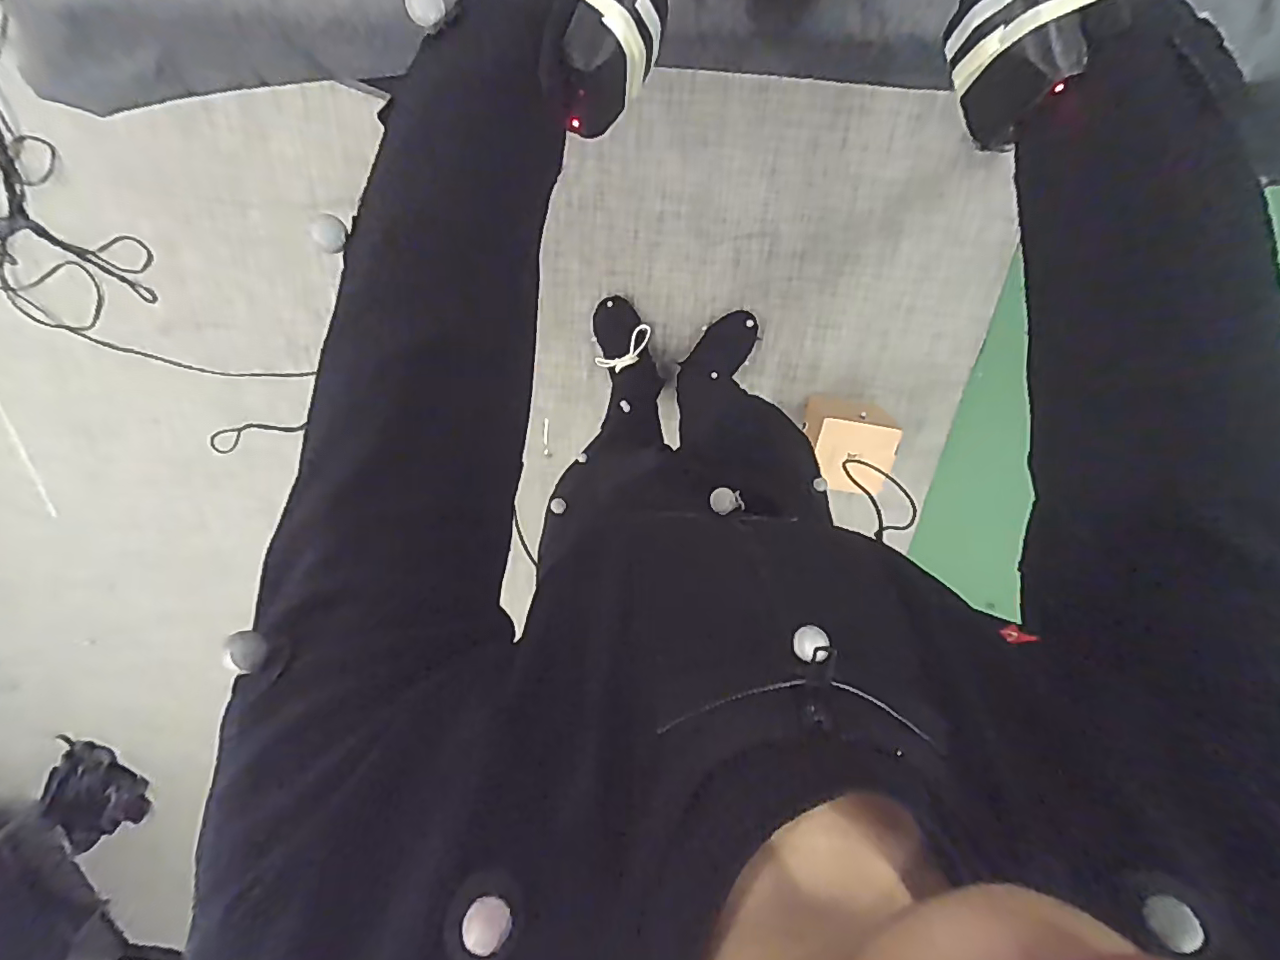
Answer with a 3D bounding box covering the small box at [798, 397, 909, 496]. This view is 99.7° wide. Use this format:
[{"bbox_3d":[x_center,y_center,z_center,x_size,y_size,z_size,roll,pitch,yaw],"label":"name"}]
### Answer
[{"bbox_3d":[0.483,-0.083,1.253,0.179,0.176,0.168,10,116,2],"label":"small box"}]
